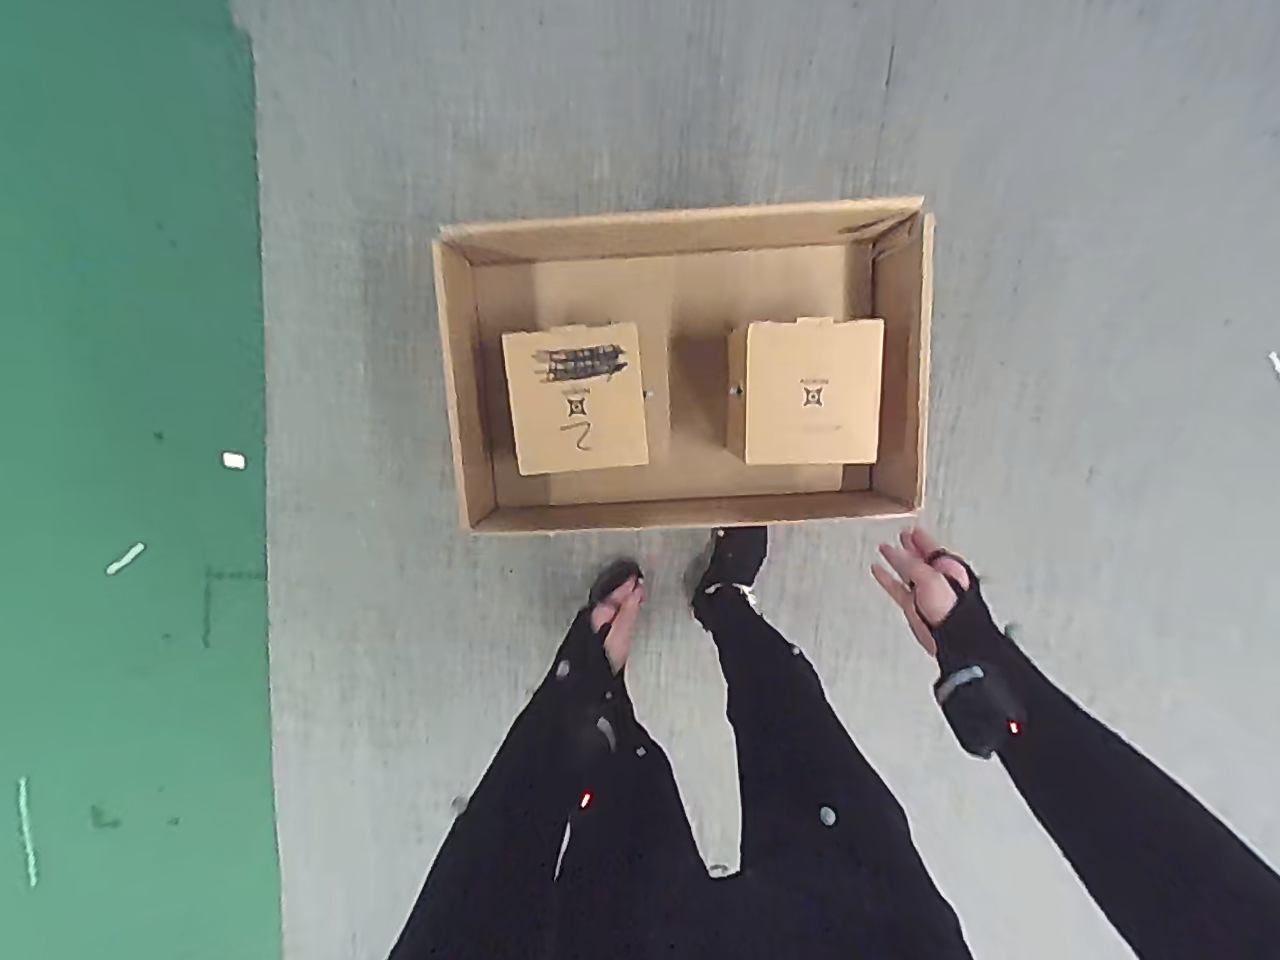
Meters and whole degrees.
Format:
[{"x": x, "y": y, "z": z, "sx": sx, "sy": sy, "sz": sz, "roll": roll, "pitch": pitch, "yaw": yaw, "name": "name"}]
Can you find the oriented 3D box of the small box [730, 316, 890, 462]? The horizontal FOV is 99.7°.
[{"x": 0.216, "y": -0.119, "z": 0.730, "sx": 0.168, "sy": 0.176, "sz": 0.179, "roll": 0, "pitch": 99, "yaw": 1, "name": "small box"}]
